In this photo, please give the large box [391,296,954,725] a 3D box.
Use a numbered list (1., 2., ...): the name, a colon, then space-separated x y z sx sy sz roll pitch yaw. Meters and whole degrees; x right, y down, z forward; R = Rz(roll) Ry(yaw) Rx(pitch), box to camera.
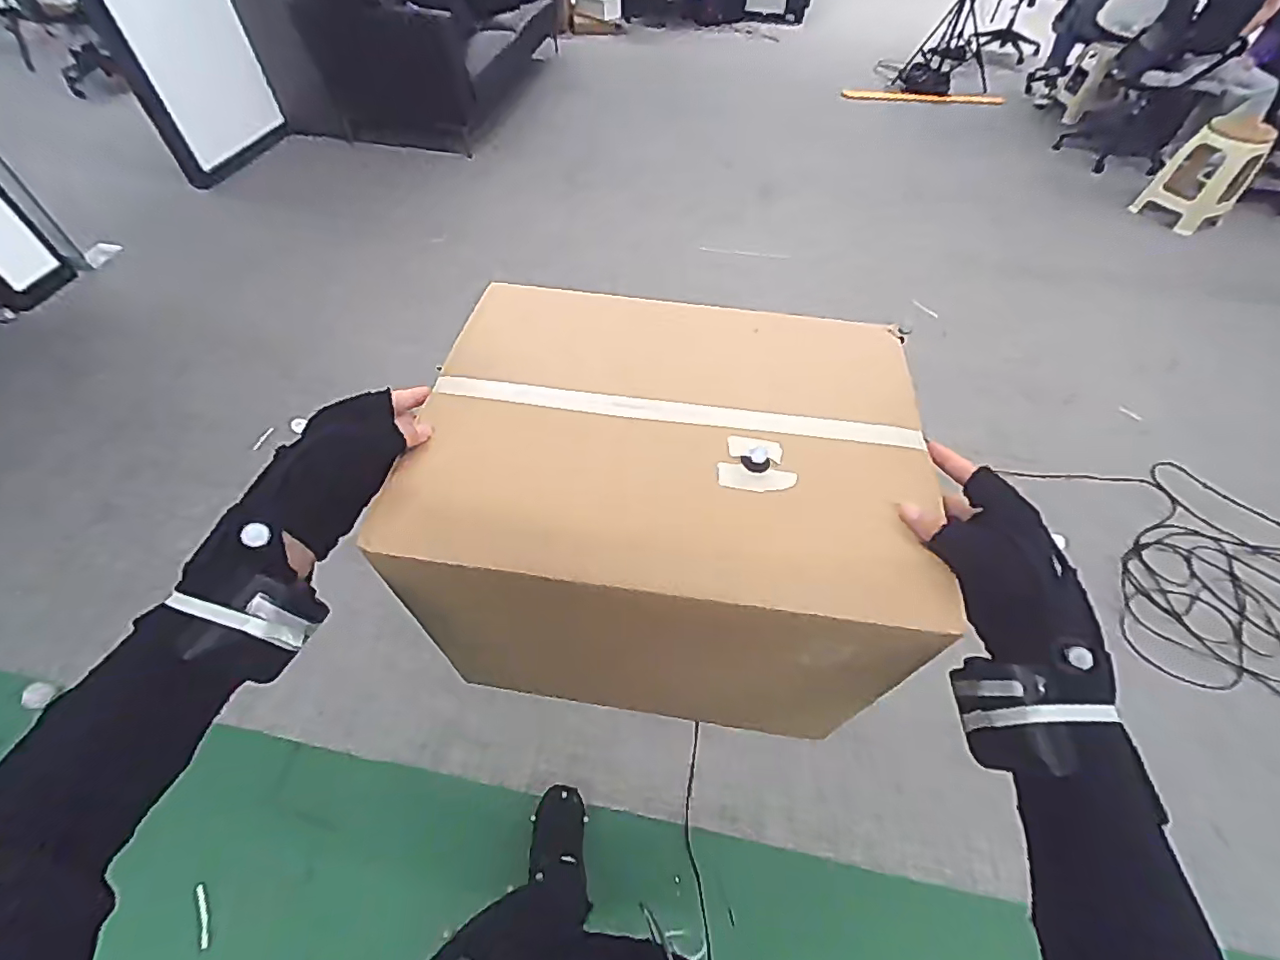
1. large box: 0.029 0.041 0.579 0.408 0.320 0.320 8 54 3
